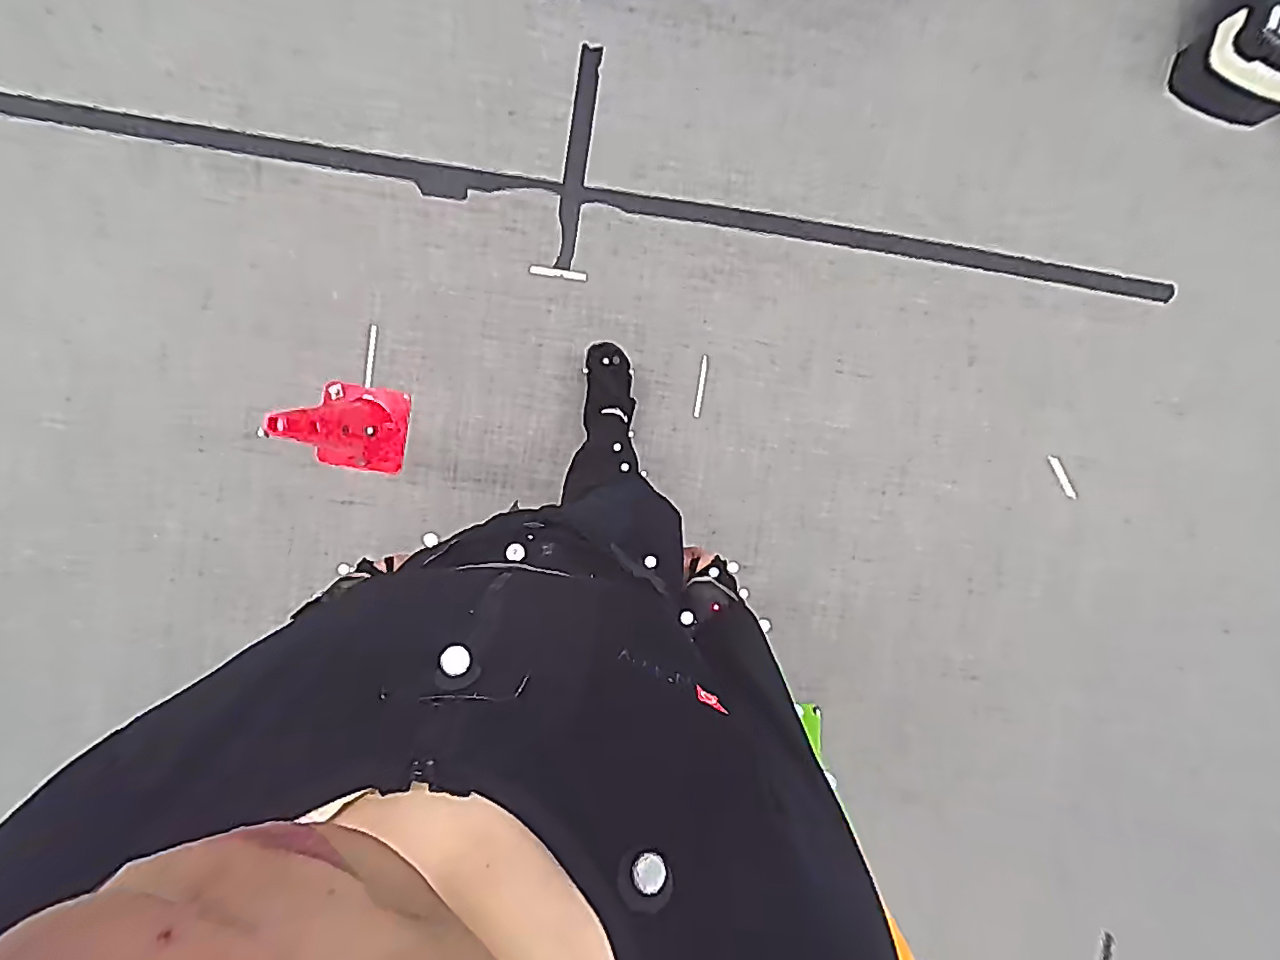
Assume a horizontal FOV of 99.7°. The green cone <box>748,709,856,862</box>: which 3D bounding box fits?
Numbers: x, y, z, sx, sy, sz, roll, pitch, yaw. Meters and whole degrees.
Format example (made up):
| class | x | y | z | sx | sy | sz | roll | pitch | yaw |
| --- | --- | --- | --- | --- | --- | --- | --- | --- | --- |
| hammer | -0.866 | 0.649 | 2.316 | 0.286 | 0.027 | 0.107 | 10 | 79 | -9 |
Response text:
| class | x | y | z | sx | sy | sz | roll | pitch | yaw |
| --- | --- | --- | --- | --- | --- | --- | --- | --- | --- |
| green cone | 0.397 | 0.722 | 1.257 | 0.200 | 0.368 | 0.202 | -3 | 96 | -4 |
